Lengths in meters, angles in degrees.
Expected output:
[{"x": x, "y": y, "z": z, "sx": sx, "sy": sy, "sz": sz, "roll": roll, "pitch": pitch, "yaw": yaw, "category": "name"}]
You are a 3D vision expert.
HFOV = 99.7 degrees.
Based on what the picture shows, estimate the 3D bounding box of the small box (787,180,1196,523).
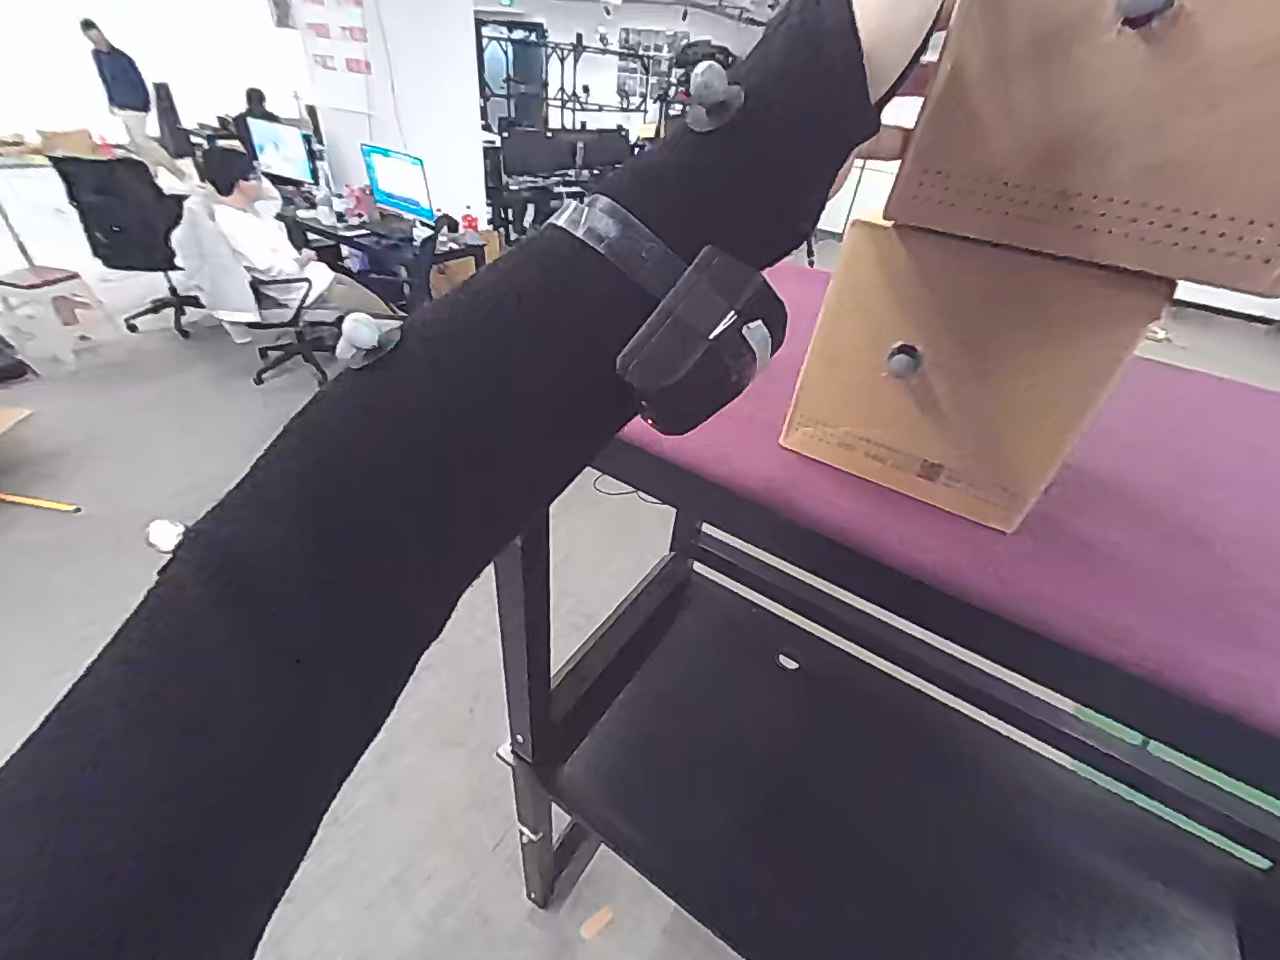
[{"x": 0.221, "y": -0.098, "z": 0.381, "sx": 0.168, "sy": 0.176, "sz": 0.179, "roll": 27, "pitch": 39, "yaw": 22, "category": "small box"}]

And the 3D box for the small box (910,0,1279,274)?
[{"x": 0.257, "y": -0.208, "z": 0.256, "sx": 0.179, "sy": 0.176, "sz": 0.168, "roll": 27, "pitch": 39, "yaw": 23, "category": "small box"}]
